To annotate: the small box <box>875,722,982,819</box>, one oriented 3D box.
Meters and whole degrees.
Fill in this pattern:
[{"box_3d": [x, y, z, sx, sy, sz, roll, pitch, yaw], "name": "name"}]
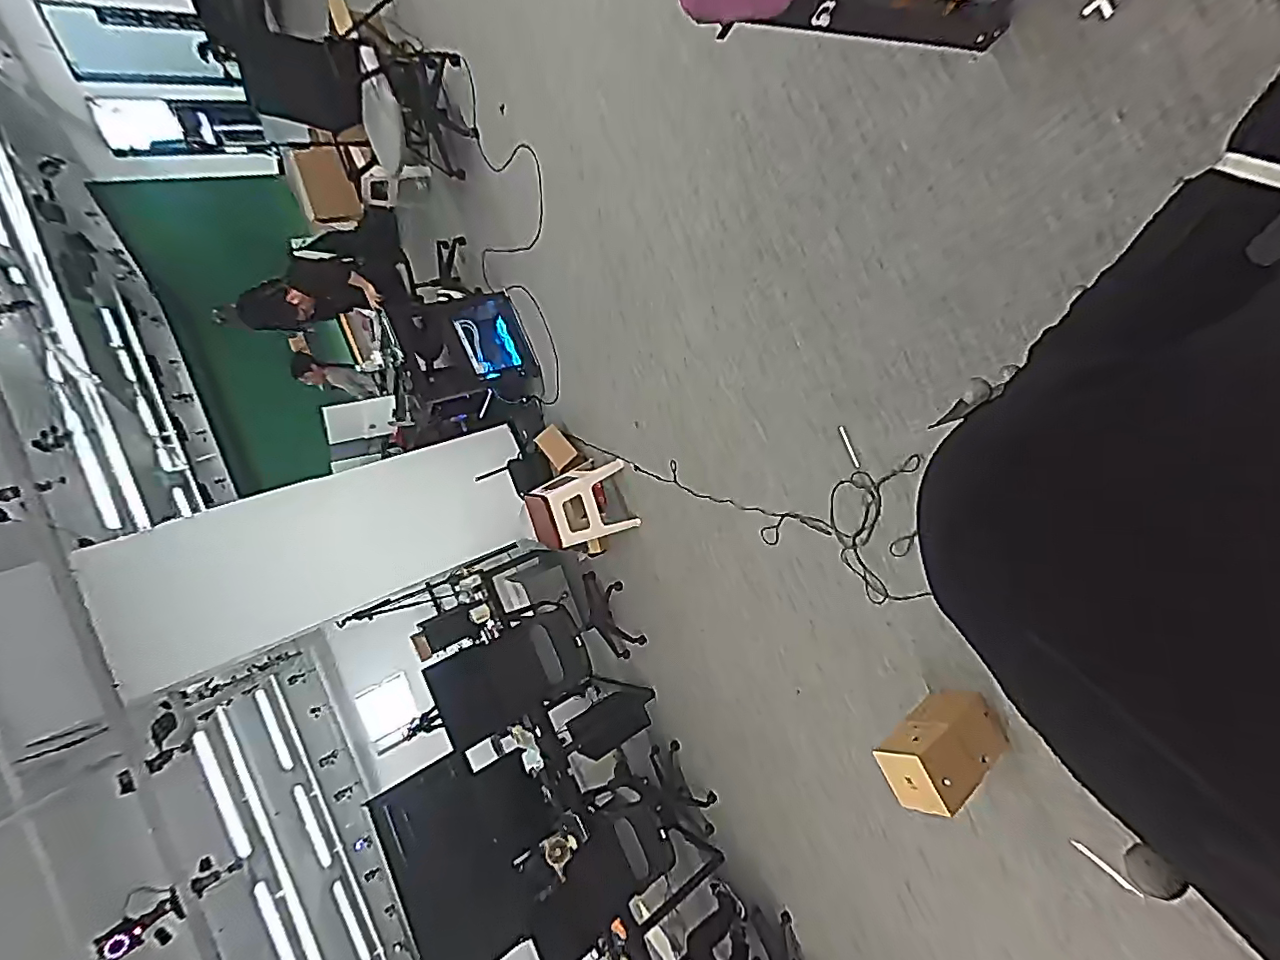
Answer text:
[{"box_3d": [0.816, 0.810, 1.529, 0.179, 0.176, 0.168, 62, 150, 8], "name": "small box"}]
